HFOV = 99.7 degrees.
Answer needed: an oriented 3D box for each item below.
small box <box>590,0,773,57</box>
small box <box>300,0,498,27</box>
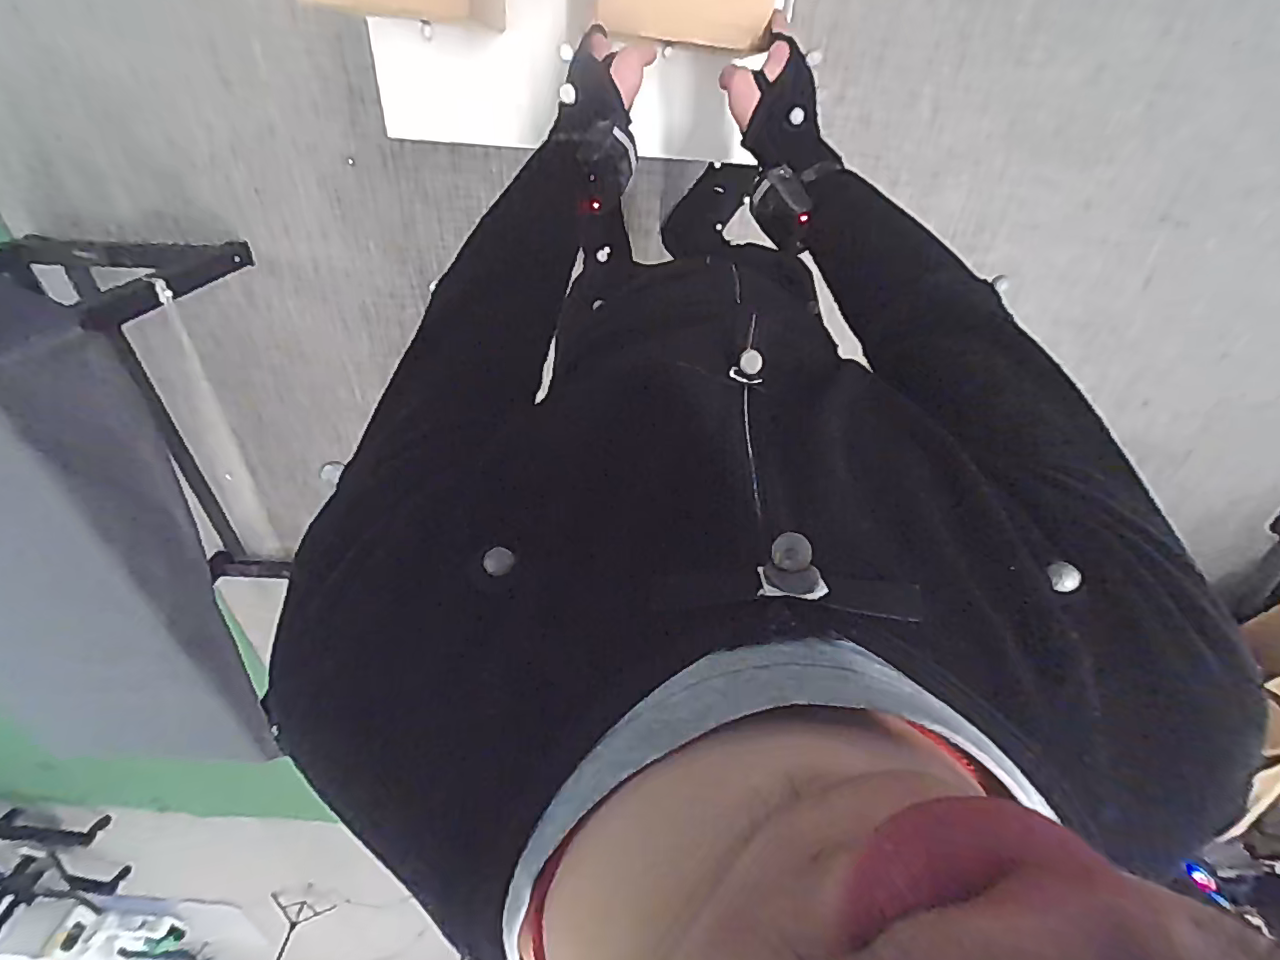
[{"bbox_3d":[0.049,-0.547,0.551,0.179,0.176,0.168,6,127,-2],"label":"small box"},{"bbox_3d":[-0.245,-0.573,0.543,0.179,0.176,0.168,4,127,-3],"label":"small box"}]
